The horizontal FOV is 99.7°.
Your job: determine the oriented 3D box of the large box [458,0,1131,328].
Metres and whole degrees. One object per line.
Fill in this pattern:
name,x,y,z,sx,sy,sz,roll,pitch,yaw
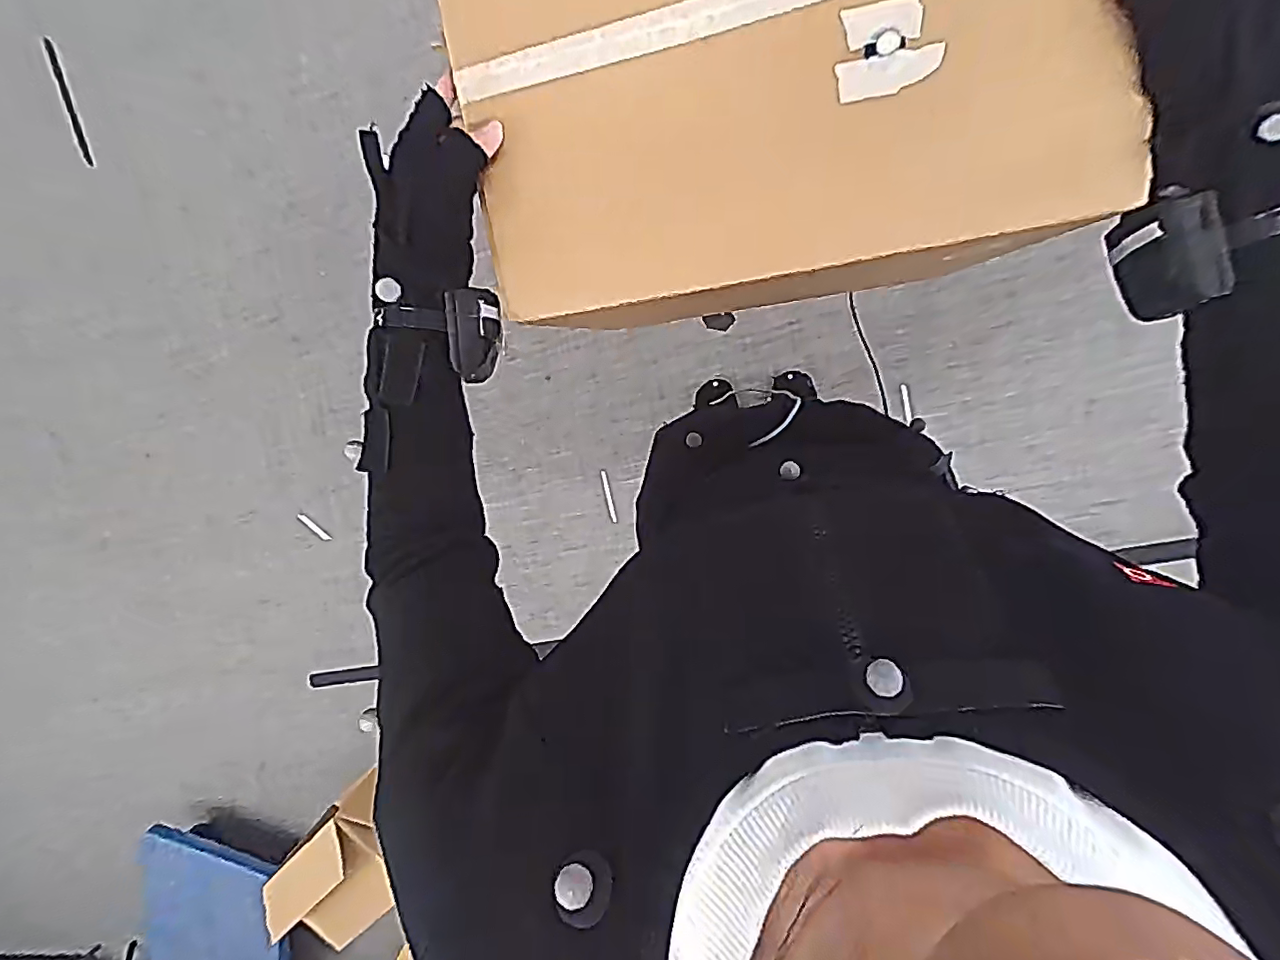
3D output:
large box,0.102,-0.331,0.479,0.408,0.320,0.320,-7,103,12
